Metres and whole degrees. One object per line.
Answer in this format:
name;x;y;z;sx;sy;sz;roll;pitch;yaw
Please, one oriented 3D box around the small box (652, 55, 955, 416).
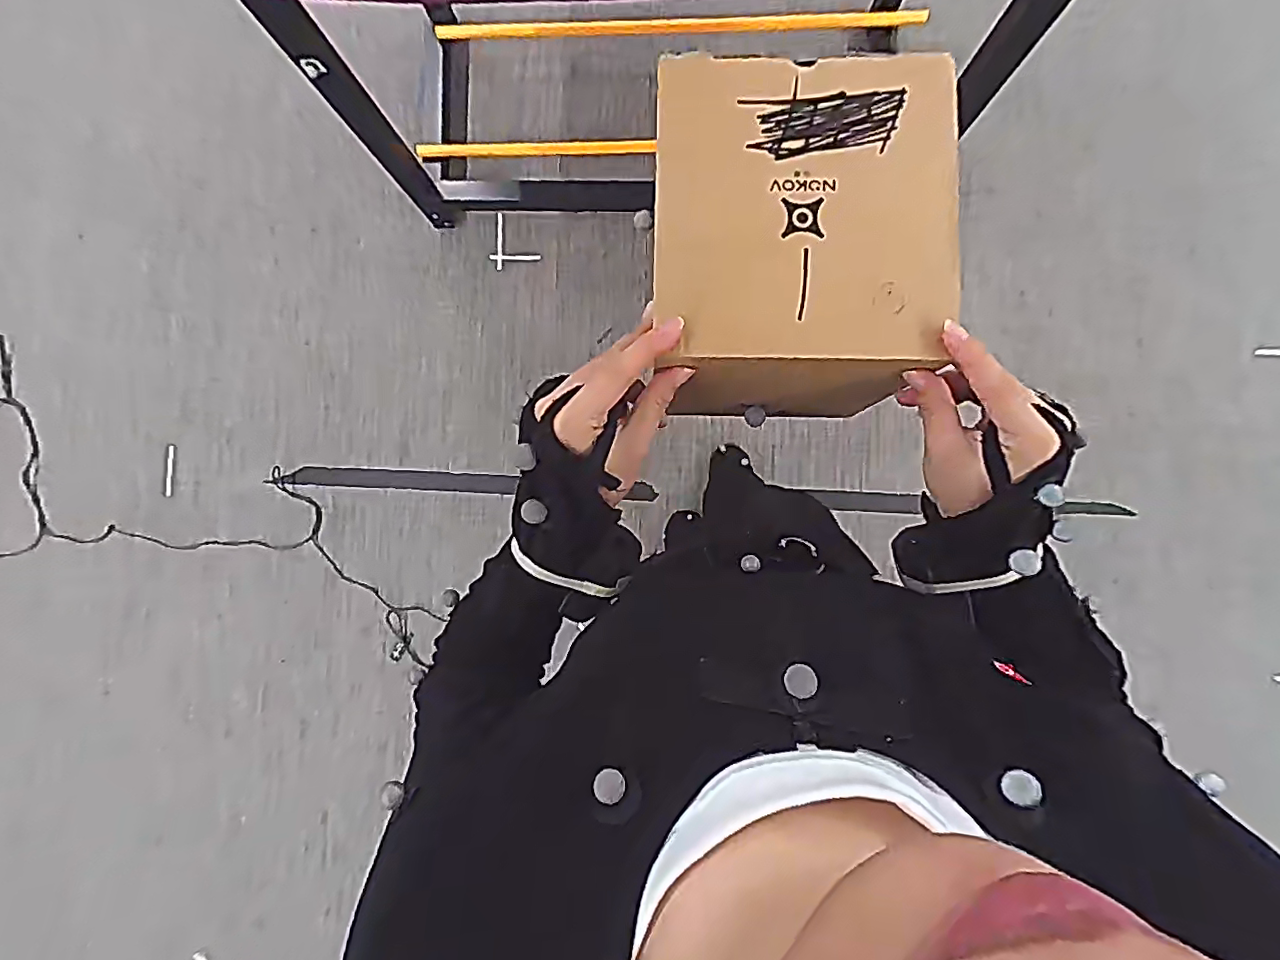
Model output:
small box;0.093;-0.149;0.381;0.168;0.176;0.179;1;87;2
